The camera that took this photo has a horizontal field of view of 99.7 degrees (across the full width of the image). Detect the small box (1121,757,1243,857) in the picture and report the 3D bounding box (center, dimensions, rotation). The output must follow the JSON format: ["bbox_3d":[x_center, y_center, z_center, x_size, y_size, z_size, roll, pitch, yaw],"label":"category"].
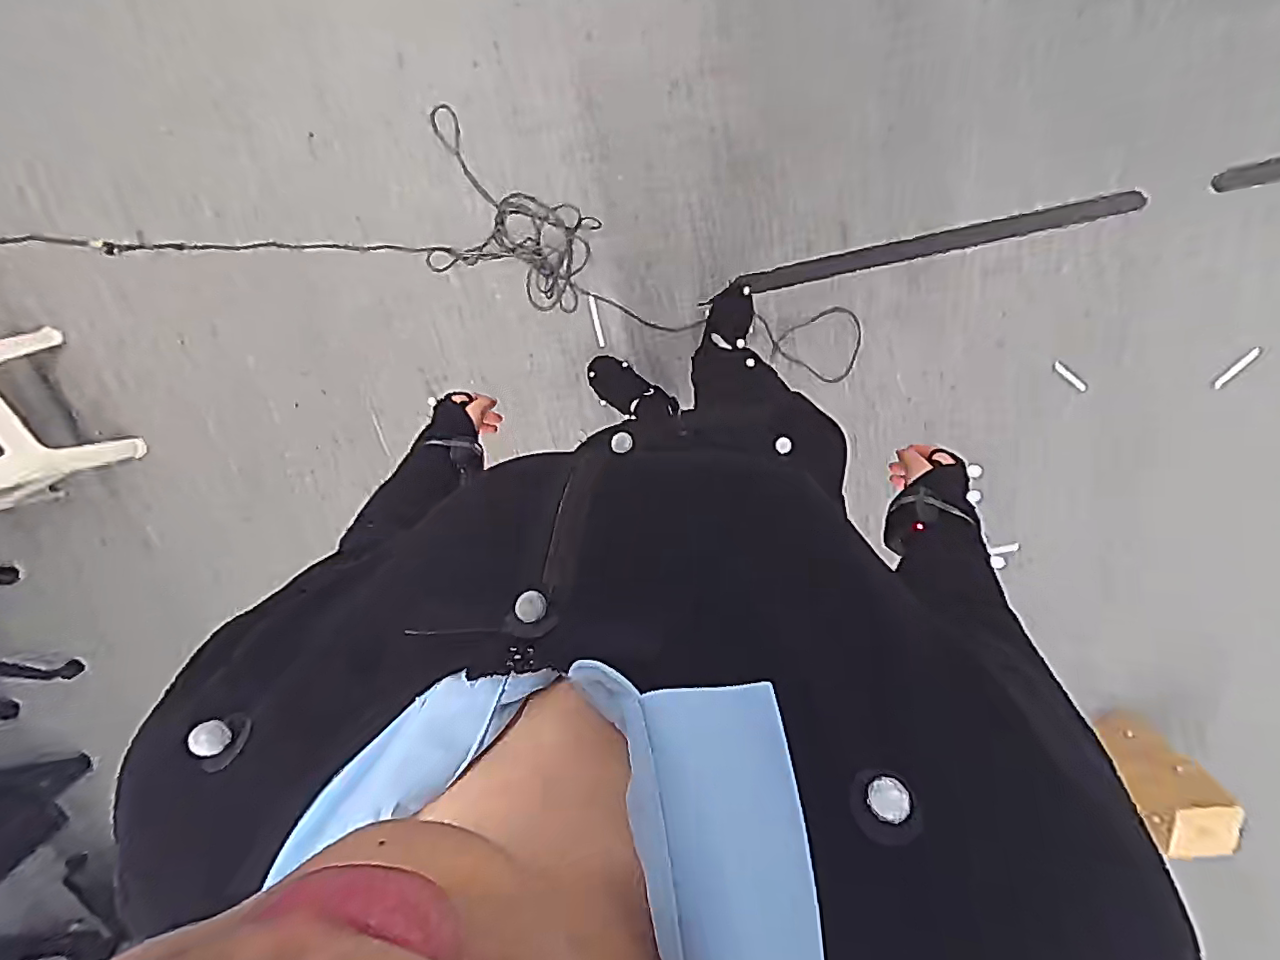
[{"bbox_3d":[1.501,0.910,1.512,0.168,0.176,0.179,-7,108,5],"label":"small box"}]

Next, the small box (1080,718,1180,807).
[{"bbox_3d":[1.503,0.861,1.668,0.168,0.176,0.179,-13,109,7],"label":"small box"}]
